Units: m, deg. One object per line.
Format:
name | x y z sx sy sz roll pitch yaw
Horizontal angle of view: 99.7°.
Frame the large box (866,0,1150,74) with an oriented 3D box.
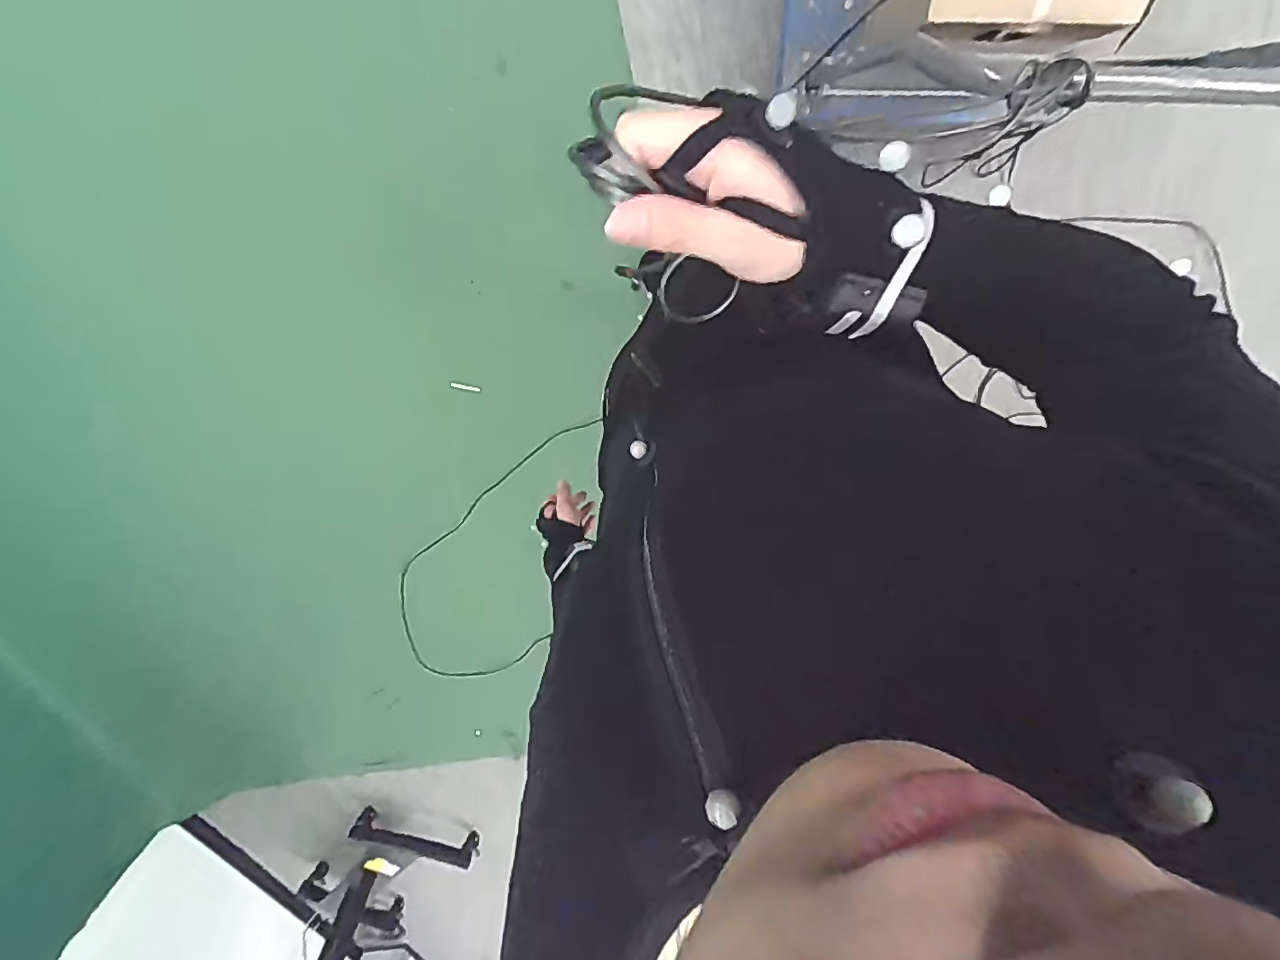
large box | 0.586 -0.898 0.835 0.320 0.320 0.408 2 119 0
